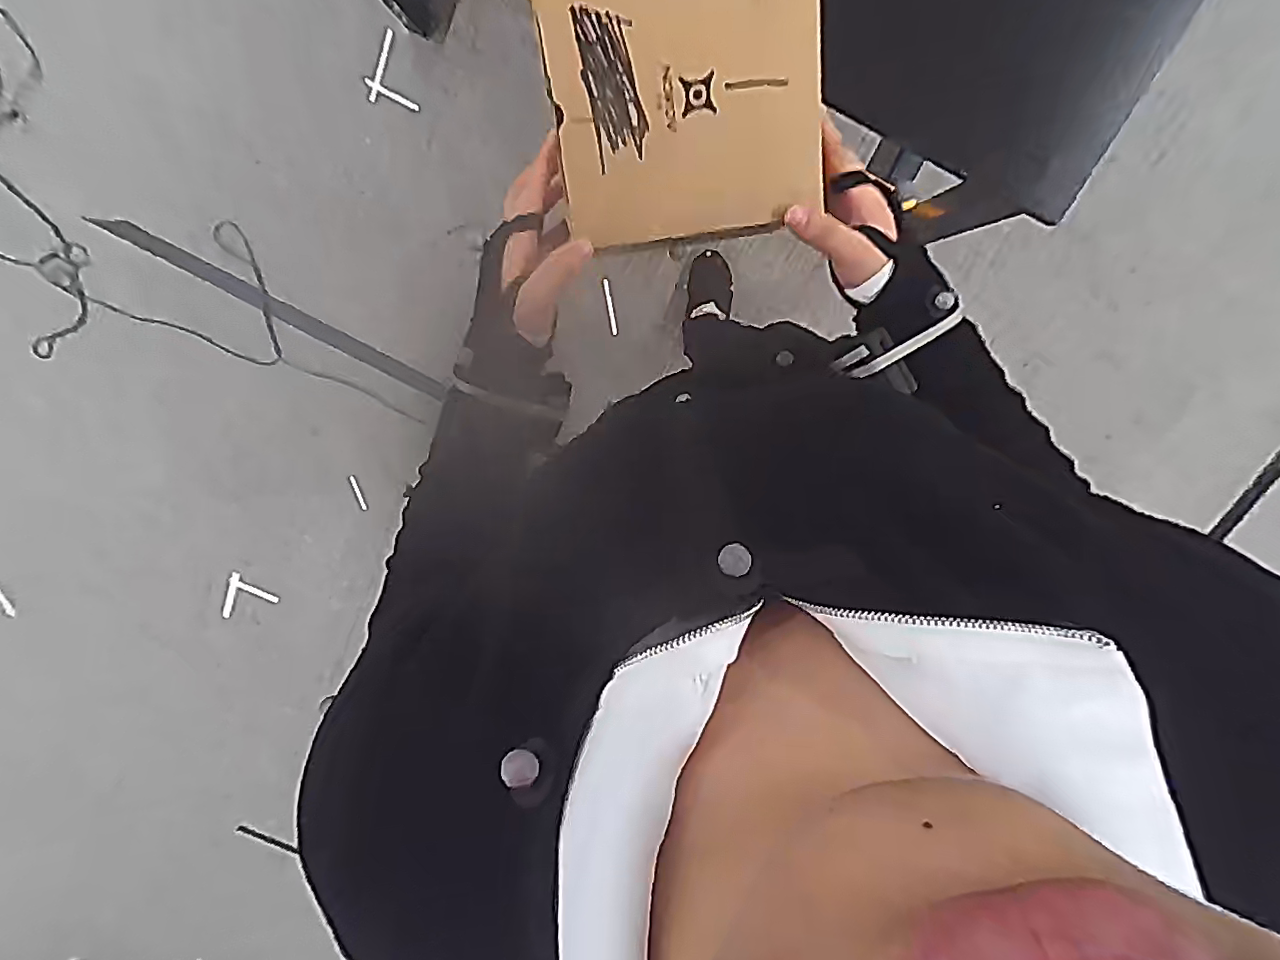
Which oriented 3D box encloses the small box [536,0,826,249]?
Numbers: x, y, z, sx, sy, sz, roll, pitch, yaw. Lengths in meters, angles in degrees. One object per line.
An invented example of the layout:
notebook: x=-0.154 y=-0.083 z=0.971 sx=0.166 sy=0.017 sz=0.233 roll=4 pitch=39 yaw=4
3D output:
small box: x=0.031 y=-0.278 z=0.416 sx=0.179 sy=0.176 sz=0.168 roll=-7 pitch=111 yaw=2
